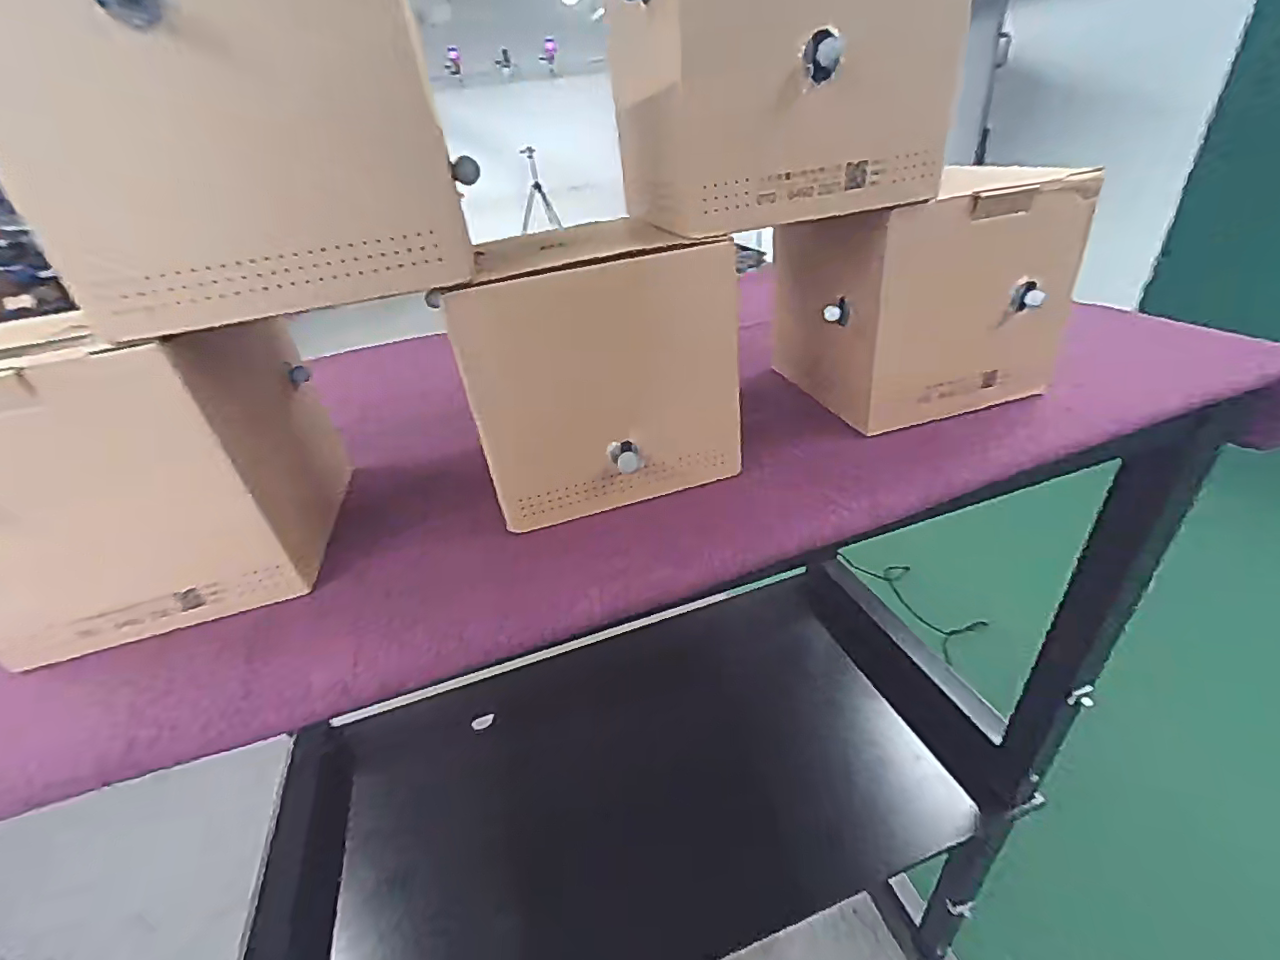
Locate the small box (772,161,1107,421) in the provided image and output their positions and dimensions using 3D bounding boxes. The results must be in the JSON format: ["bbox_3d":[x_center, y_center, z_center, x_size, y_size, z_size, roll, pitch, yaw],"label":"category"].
[{"bbox_3d":[0.225,-0.161,0.460,0.168,0.176,0.179,-13,32,-7],"label":"small box"}]

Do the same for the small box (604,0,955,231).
[{"bbox_3d":[0.079,-0.268,0.351,0.168,0.176,0.179,-12,32,-8],"label":"small box"}]

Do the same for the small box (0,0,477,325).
[{"bbox_3d":[-0.199,-0.192,0.292,0.179,0.176,0.168,-13,32,-10],"label":"small box"}]
